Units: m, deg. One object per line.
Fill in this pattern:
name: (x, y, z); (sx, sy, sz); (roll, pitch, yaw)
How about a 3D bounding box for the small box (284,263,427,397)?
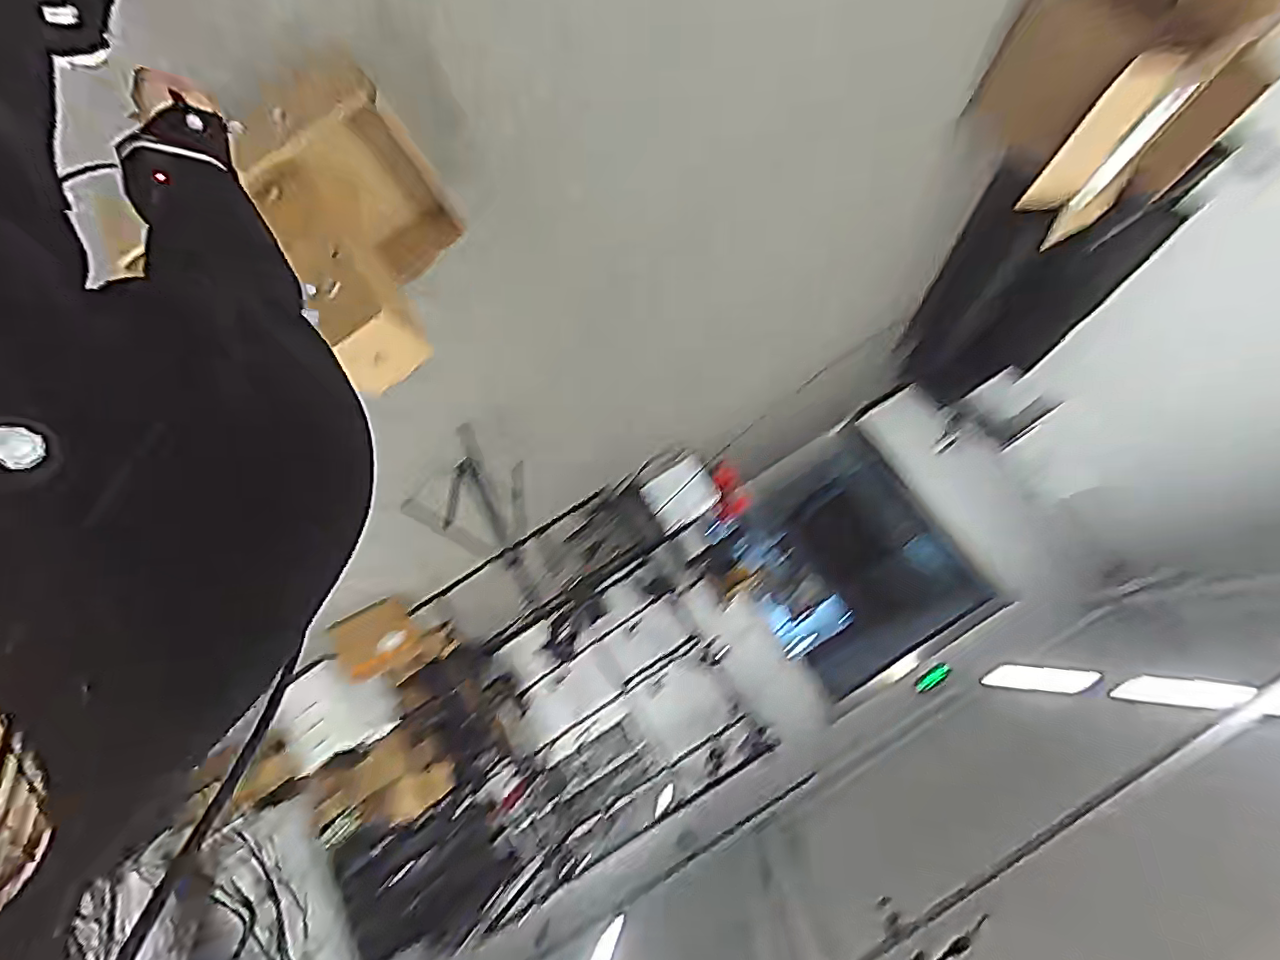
small box: (-0.587, -0.310, 1.123); (0.168, 0.176, 0.179); (-35, 161, 2)
